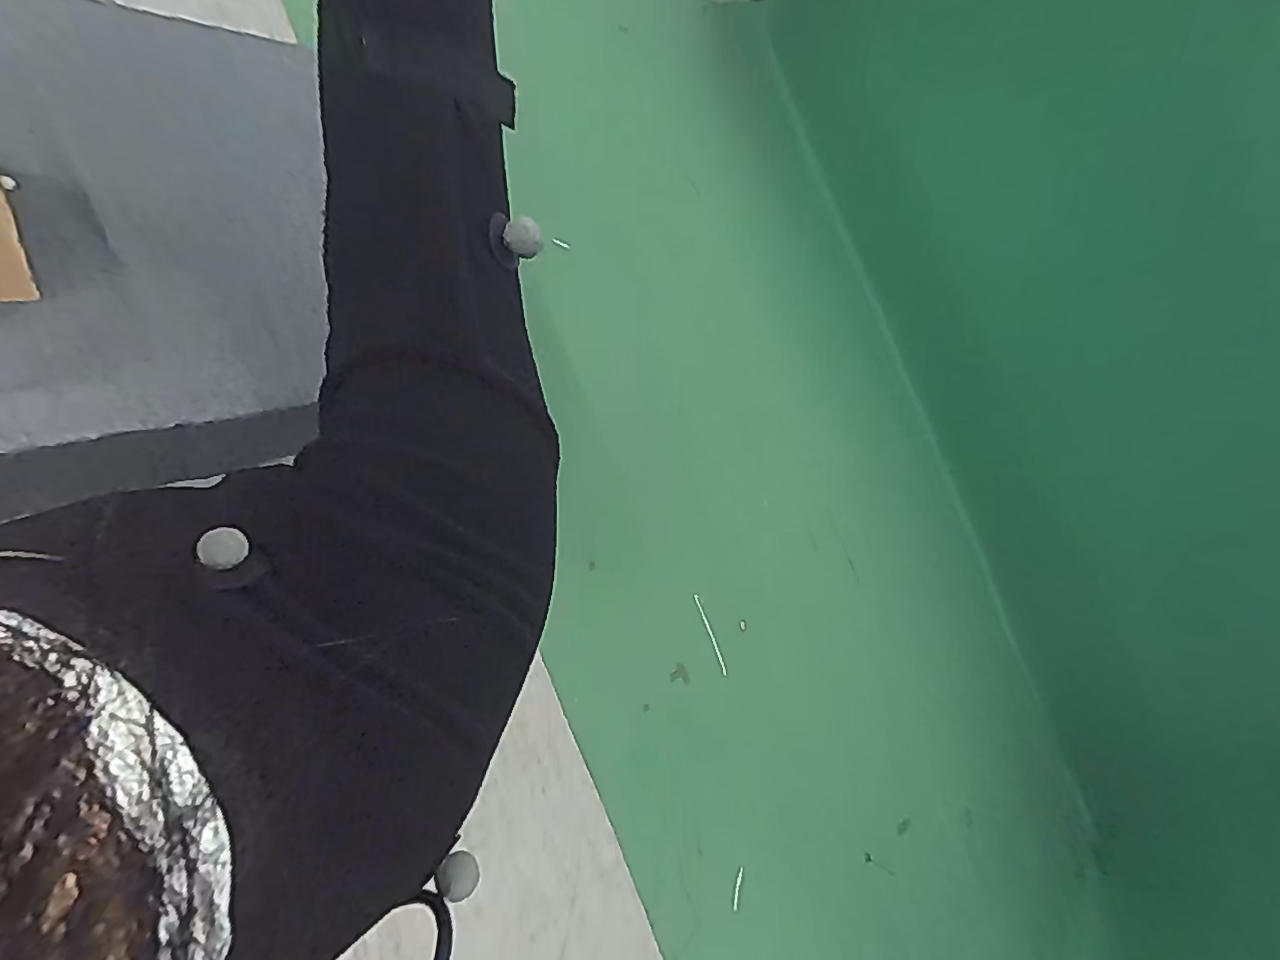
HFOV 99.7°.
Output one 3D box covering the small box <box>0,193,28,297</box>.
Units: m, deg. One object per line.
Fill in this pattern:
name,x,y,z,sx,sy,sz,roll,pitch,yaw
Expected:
small box,-0.720,-0.289,0.493,0.168,0.176,0.179,-20,88,-40
